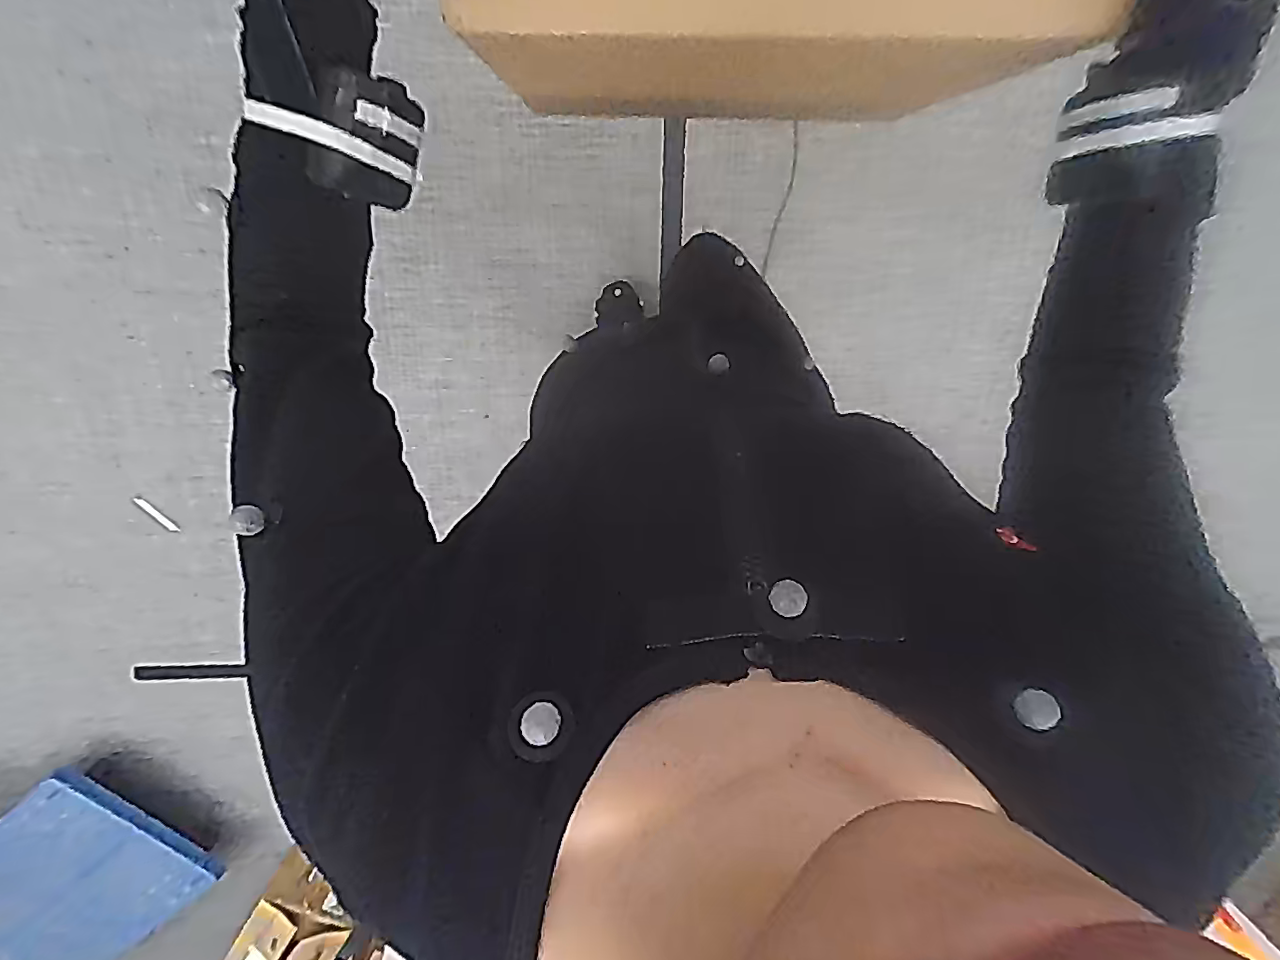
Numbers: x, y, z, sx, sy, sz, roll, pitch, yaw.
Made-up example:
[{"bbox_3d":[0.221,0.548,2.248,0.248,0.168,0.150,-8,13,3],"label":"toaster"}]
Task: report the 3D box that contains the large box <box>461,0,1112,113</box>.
[{"bbox_3d":[0.083,-0.480,0.393,0.408,0.320,0.320,-1,117,-1],"label":"large box"}]
